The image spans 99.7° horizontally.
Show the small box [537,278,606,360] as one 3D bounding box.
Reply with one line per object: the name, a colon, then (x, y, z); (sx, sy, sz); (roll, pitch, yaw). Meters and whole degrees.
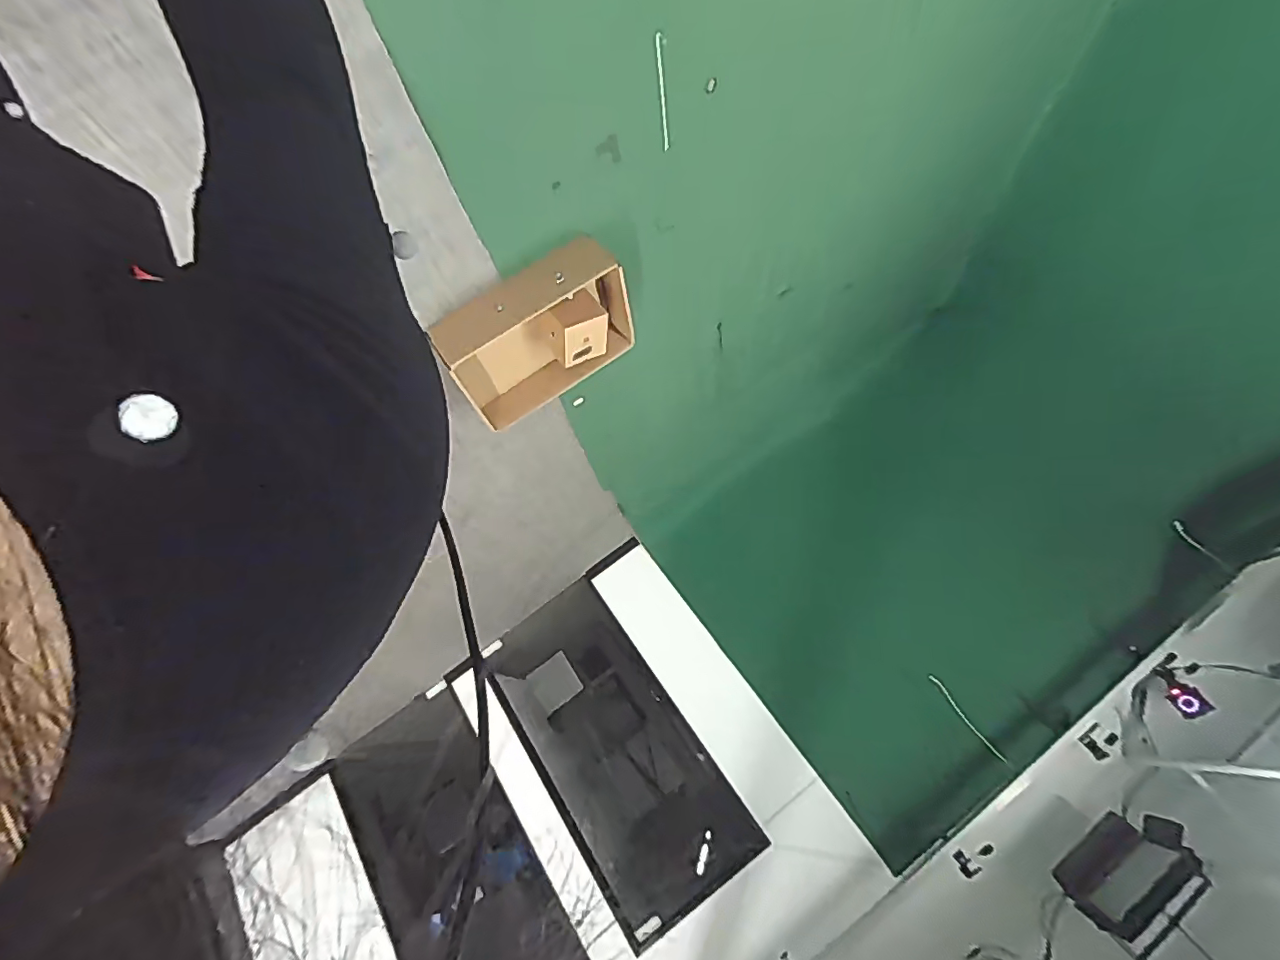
small box: (-0.232, -0.540, 1.811); (0.168, 0.176, 0.179); (-28, 155, -23)
